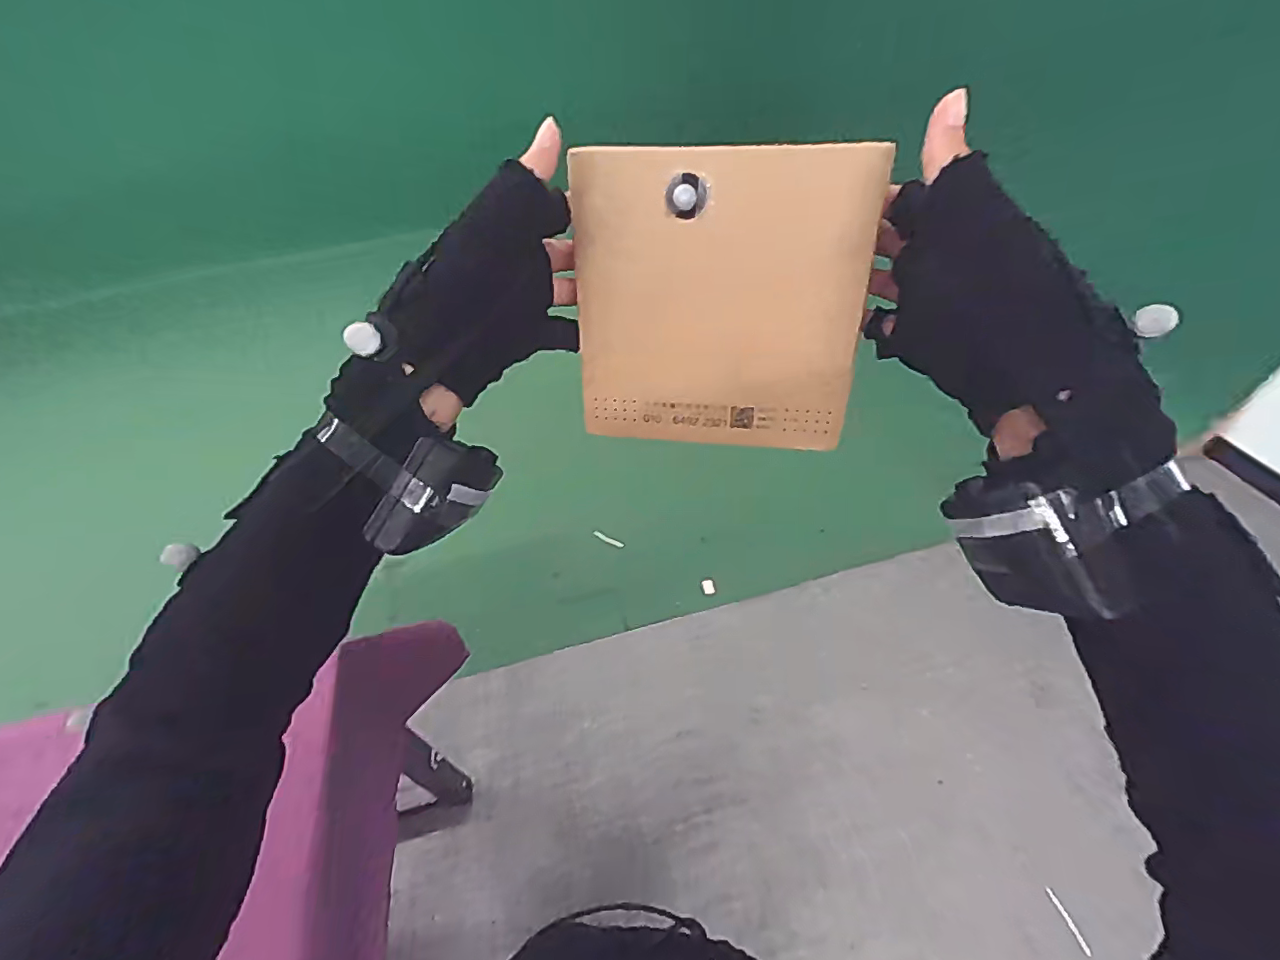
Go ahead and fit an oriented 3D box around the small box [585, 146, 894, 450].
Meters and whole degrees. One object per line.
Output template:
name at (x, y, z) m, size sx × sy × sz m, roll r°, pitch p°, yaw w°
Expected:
small box at (0.064, -0.138, 0.392) m, size 0.168 × 0.176 × 0.179 m, roll 6°, pitch 30°, yaw 10°
